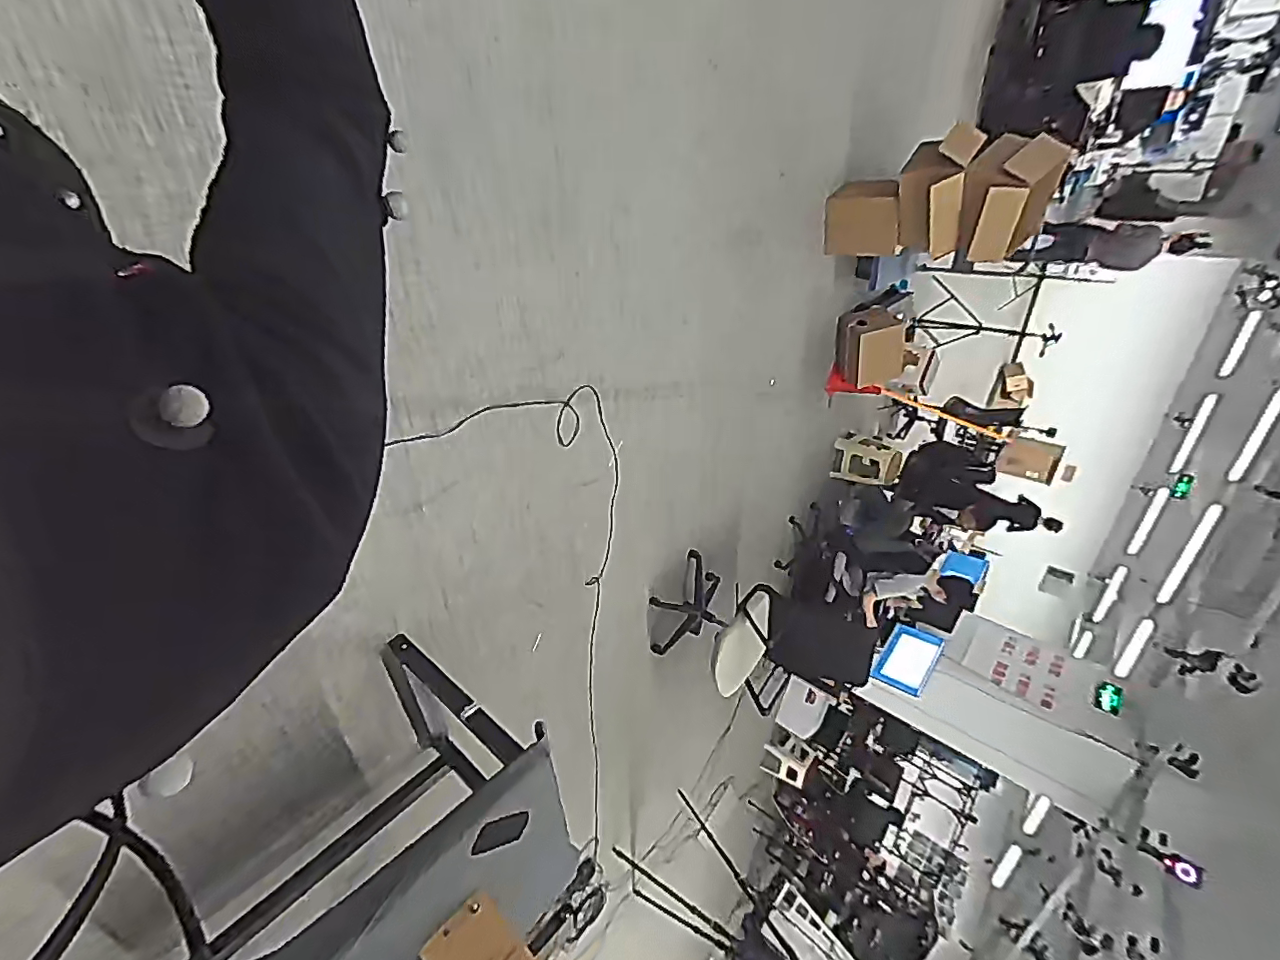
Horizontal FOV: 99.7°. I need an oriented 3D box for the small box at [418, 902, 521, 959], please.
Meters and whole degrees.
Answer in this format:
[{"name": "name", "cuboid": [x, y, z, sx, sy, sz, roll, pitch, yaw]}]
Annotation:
[{"name": "small box", "cuboid": [-0.384, 1.126, 1.239, 0.168, 0.176, 0.179, -30, 130, -40]}]
